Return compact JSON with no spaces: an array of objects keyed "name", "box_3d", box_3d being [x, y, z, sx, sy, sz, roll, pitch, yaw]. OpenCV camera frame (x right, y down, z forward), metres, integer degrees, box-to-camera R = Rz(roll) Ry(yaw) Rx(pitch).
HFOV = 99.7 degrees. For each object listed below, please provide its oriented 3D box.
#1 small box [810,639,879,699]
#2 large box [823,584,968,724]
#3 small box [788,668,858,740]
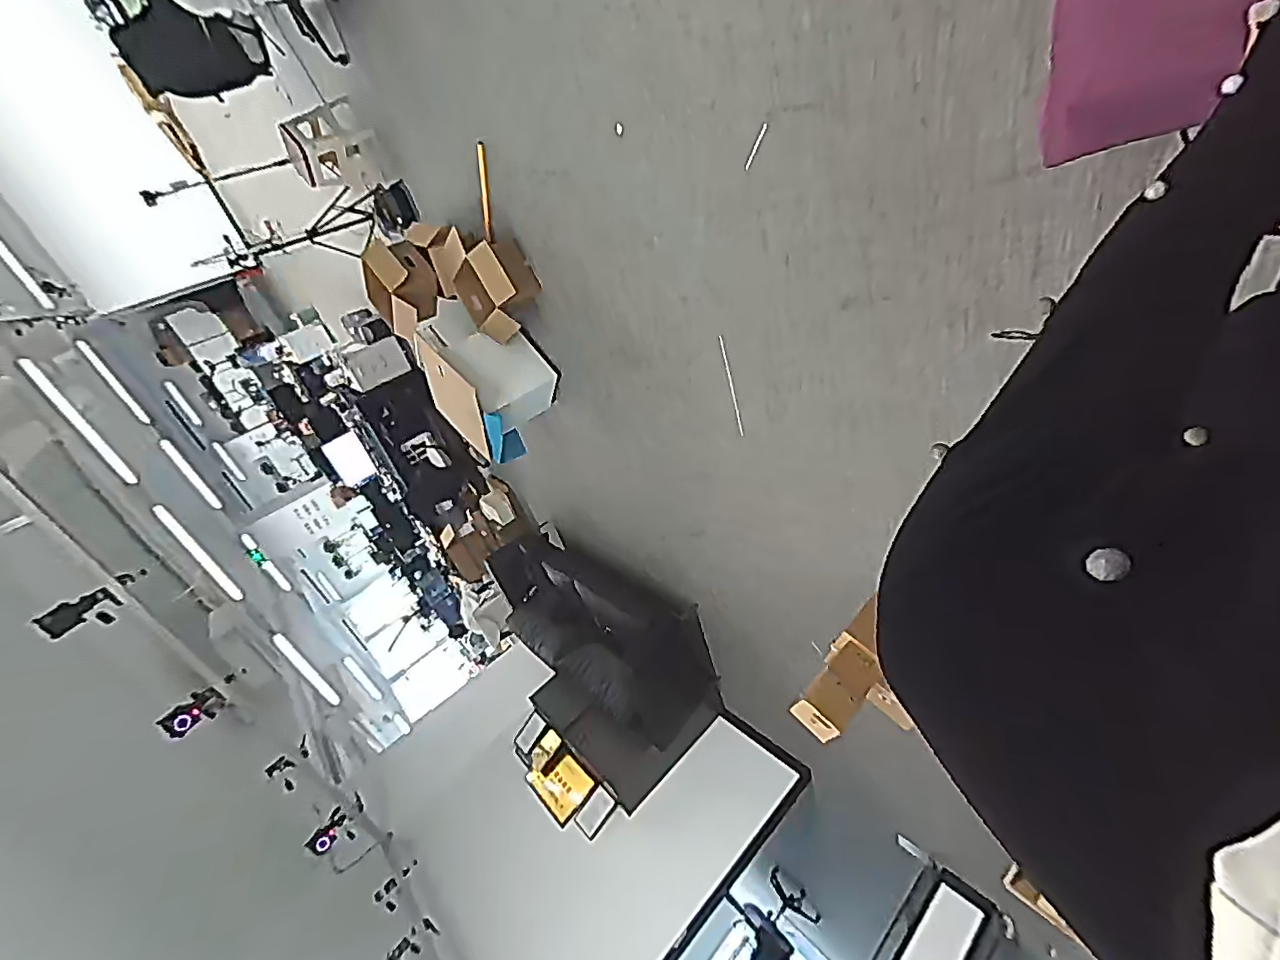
[{"name":"small box","box_3d":[0.815,0.769,2.152,0.168,0.176,0.179,41,148,22]},{"name":"large box","box_3d":[1.051,0.715,2.256,0.408,0.320,0.320,37,149,27]},{"name":"small box","box_3d":[0.702,0.852,2.068,0.168,0.176,0.179,41,149,21]}]
